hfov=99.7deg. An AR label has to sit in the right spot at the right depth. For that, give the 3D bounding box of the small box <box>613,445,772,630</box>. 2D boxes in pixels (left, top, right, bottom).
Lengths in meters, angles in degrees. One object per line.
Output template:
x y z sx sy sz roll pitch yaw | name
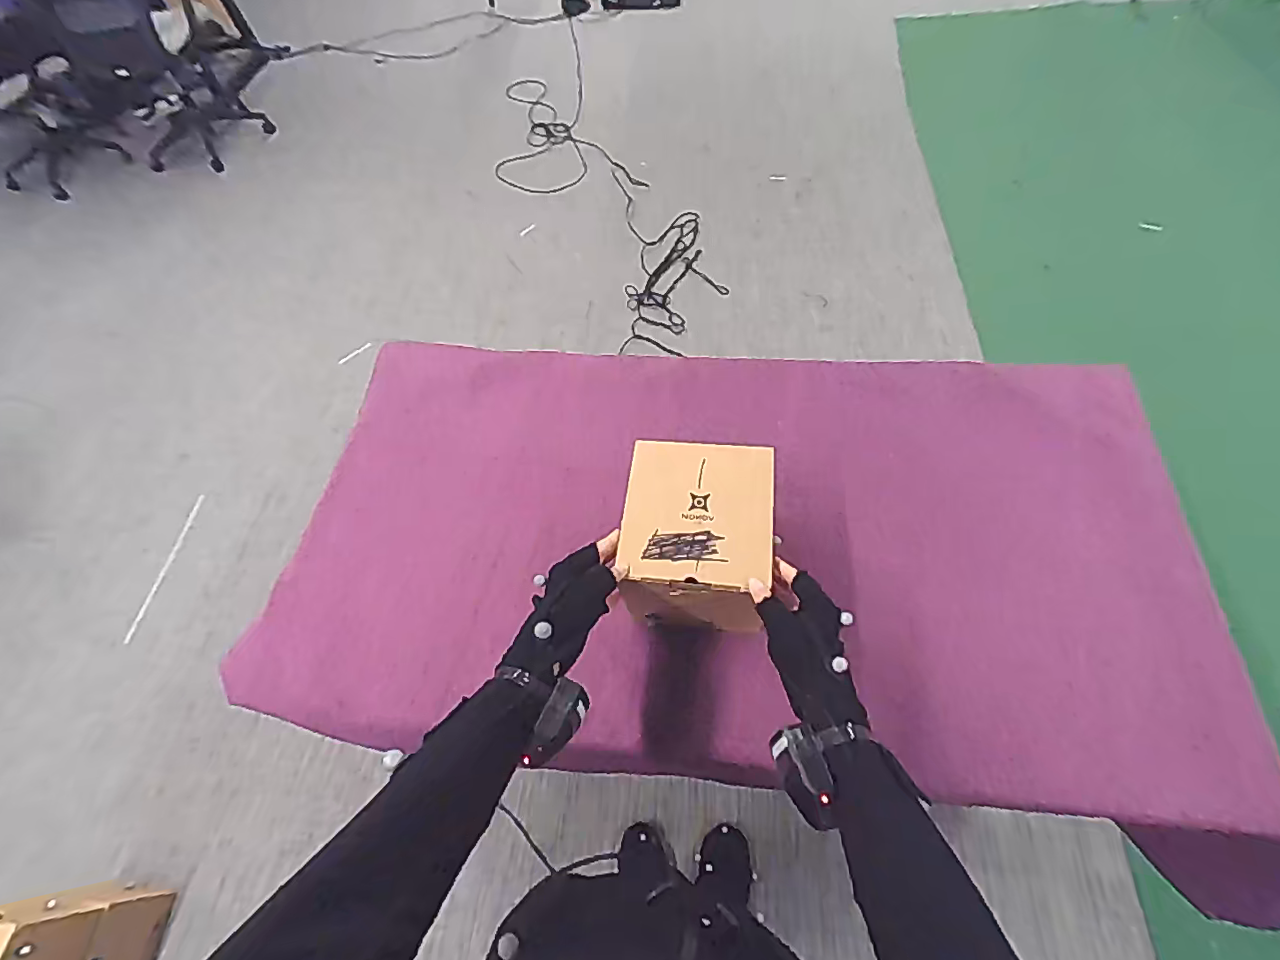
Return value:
0.072 0.077 0.674 0.168 0.176 0.179 4 60 9 | small box
